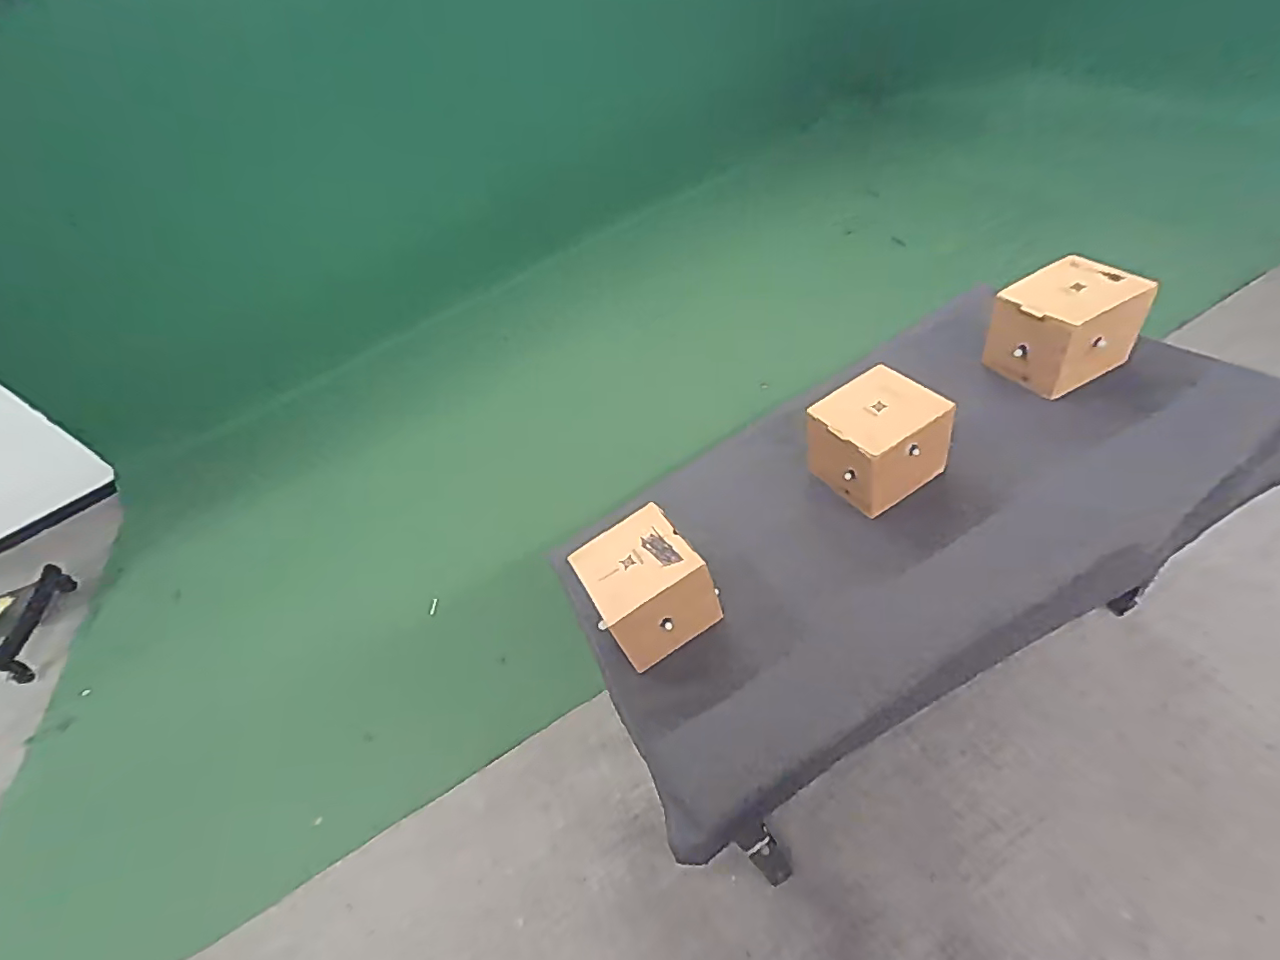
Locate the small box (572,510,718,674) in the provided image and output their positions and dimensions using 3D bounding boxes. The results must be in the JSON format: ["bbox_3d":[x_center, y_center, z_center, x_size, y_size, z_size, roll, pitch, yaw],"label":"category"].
[{"bbox_3d":[0.016,0.190,0.913,0.179,0.176,0.168,-32,44,-8],"label":"small box"}]

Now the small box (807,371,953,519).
[{"bbox_3d":[0.431,-0.060,0.985,0.179,0.176,0.168,-31,46,-9],"label":"small box"}]

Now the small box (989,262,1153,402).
[{"bbox_3d":[0.805,-0.280,1.035,0.179,0.176,0.168,-27,45,-3],"label":"small box"}]
